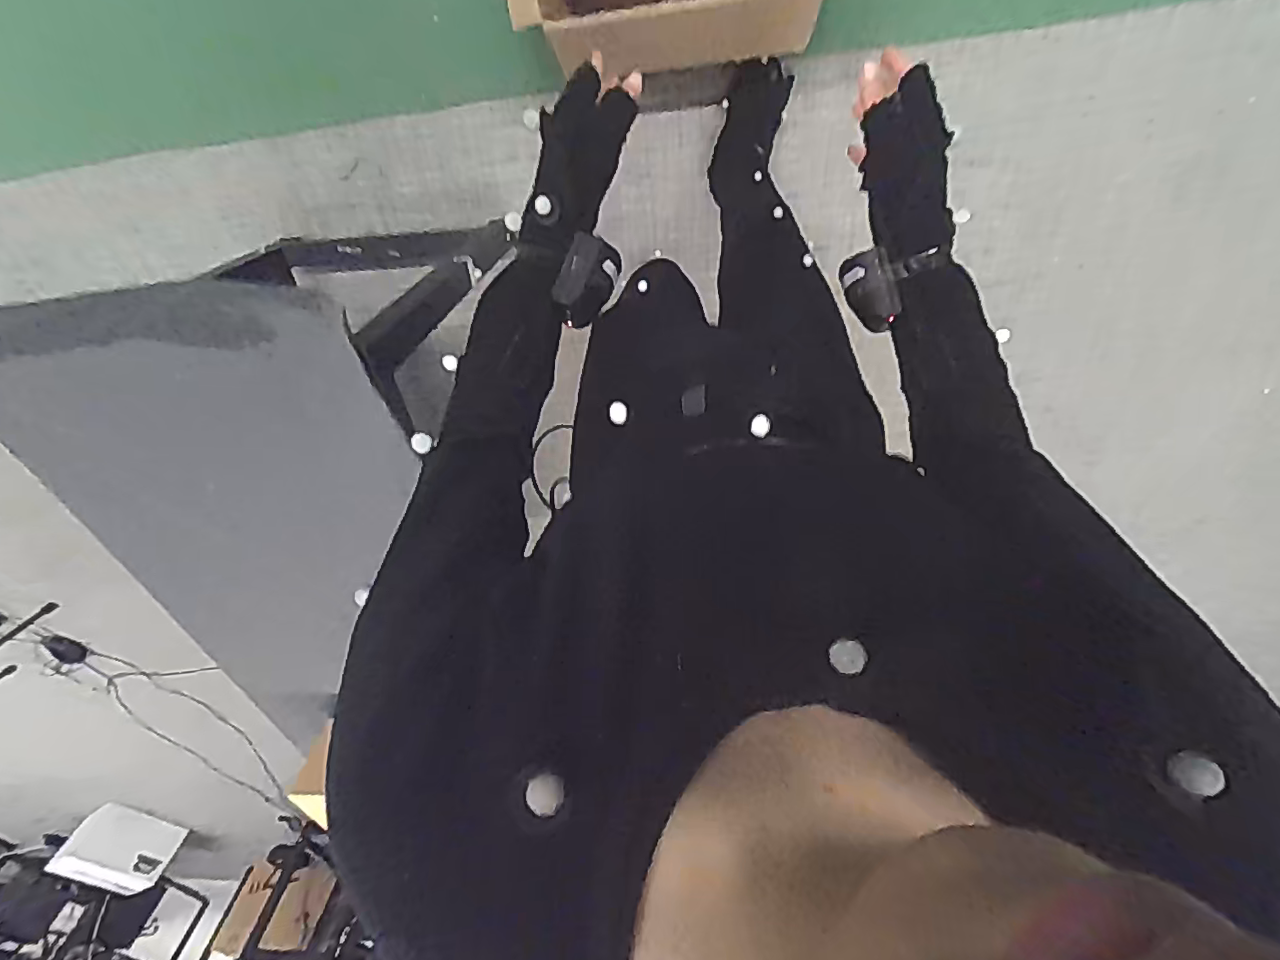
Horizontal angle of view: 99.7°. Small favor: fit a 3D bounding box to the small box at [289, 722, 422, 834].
[{"bbox_3d":[-0.610,0.650,1.186,0.168,0.176,0.179,-4,128,8],"label":"small box"}]
